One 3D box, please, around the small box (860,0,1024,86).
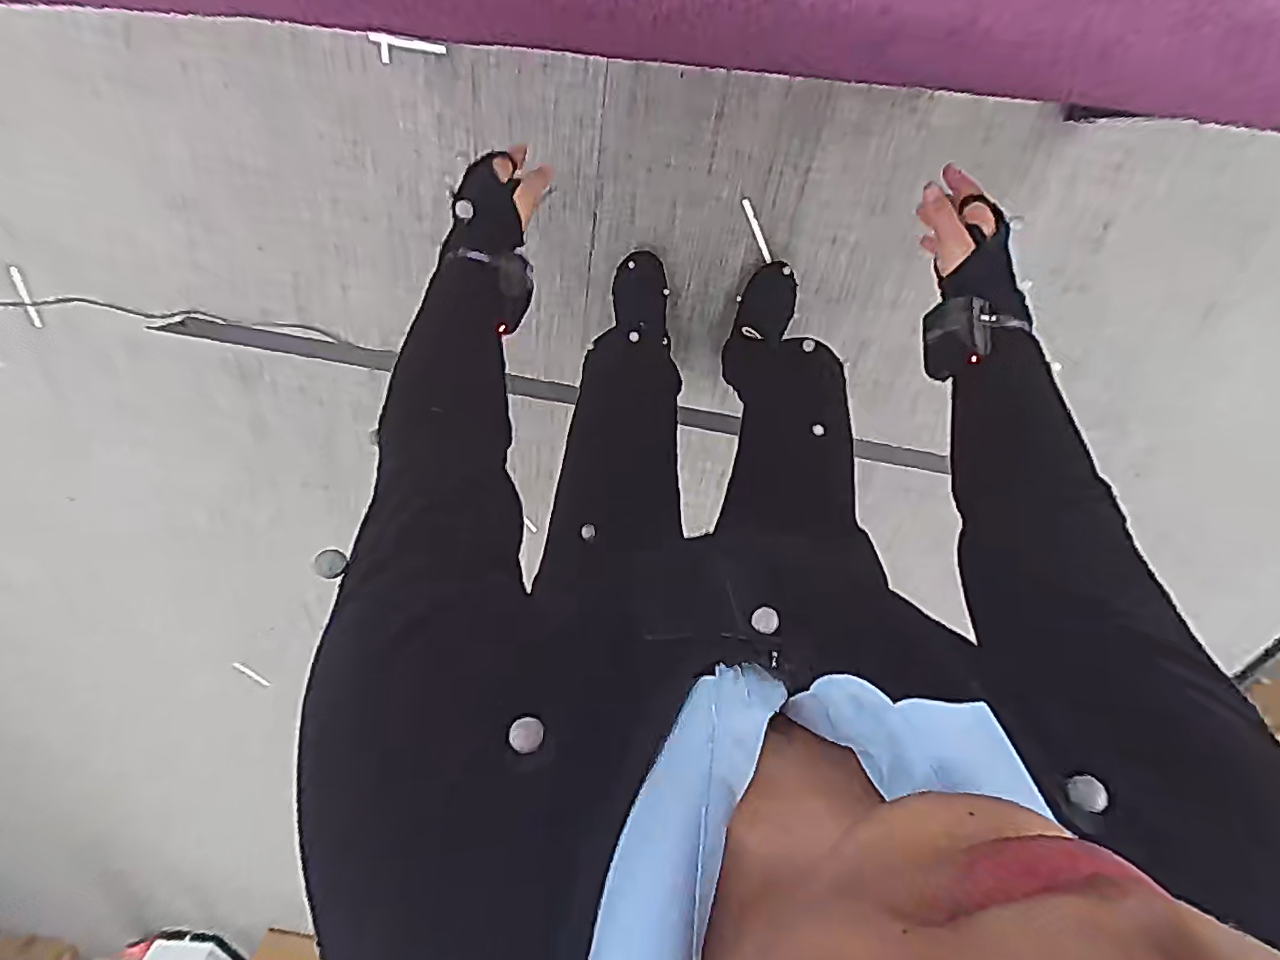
[{"bbox_3d":[0.447,-0.707,0.799,0.168,0.176,0.179,12,122,-3],"label":"small box"}]
